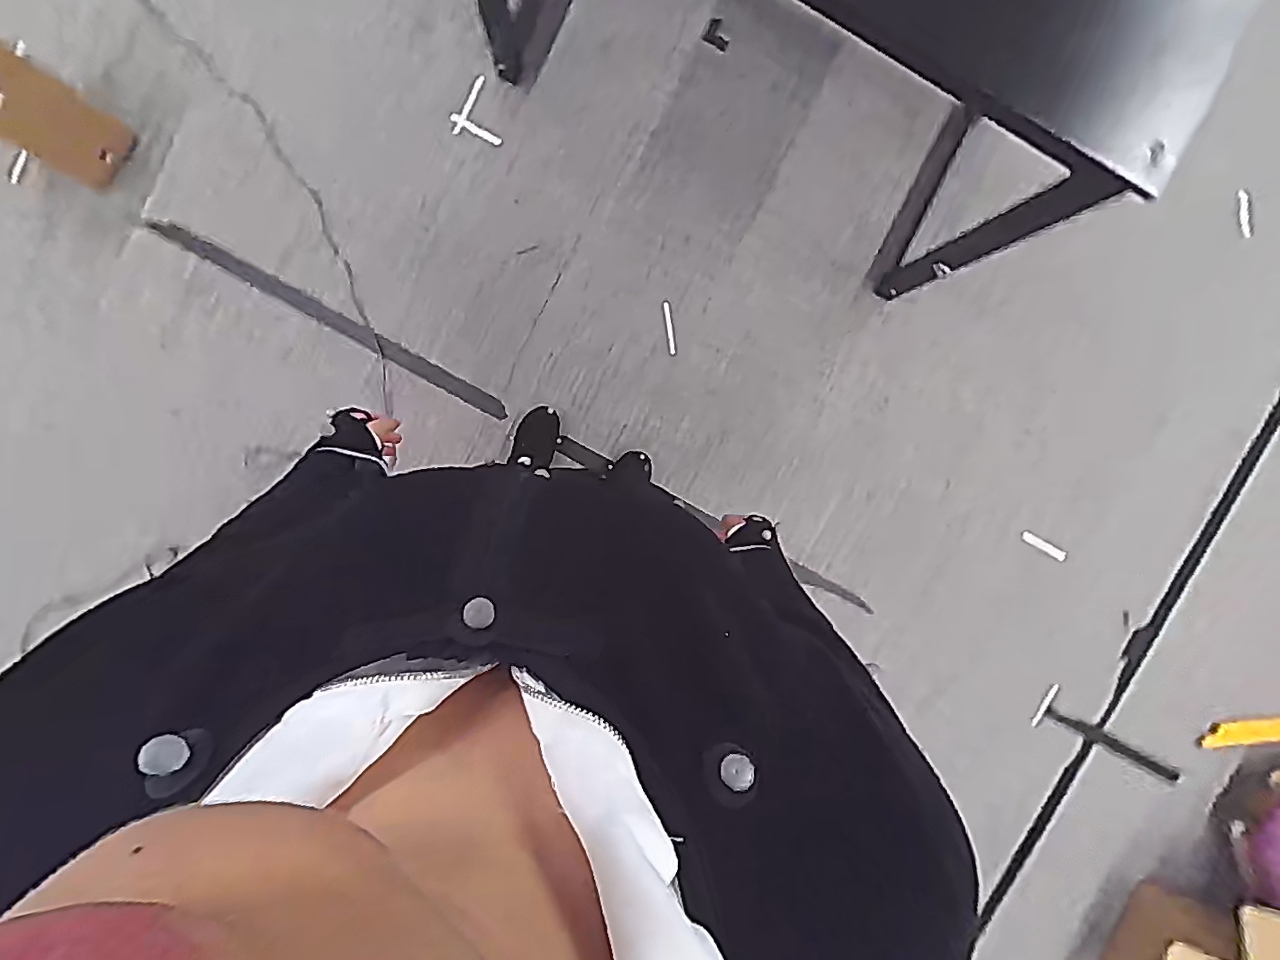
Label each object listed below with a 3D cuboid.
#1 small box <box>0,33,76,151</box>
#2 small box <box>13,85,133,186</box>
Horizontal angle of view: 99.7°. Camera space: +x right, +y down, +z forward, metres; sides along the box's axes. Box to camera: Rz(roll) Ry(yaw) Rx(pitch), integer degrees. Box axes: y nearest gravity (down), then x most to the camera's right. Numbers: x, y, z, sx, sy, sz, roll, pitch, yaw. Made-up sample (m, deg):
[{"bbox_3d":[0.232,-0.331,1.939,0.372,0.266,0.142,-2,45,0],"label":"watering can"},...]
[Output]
[{"bbox_3d":[-1.312,-0.809,1.083,0.168,0.176,0.179,29,93,-7],"label":"small box"},{"bbox_3d":[-1.340,-0.829,1.245,0.168,0.176,0.179,35,92,-7],"label":"small box"}]
